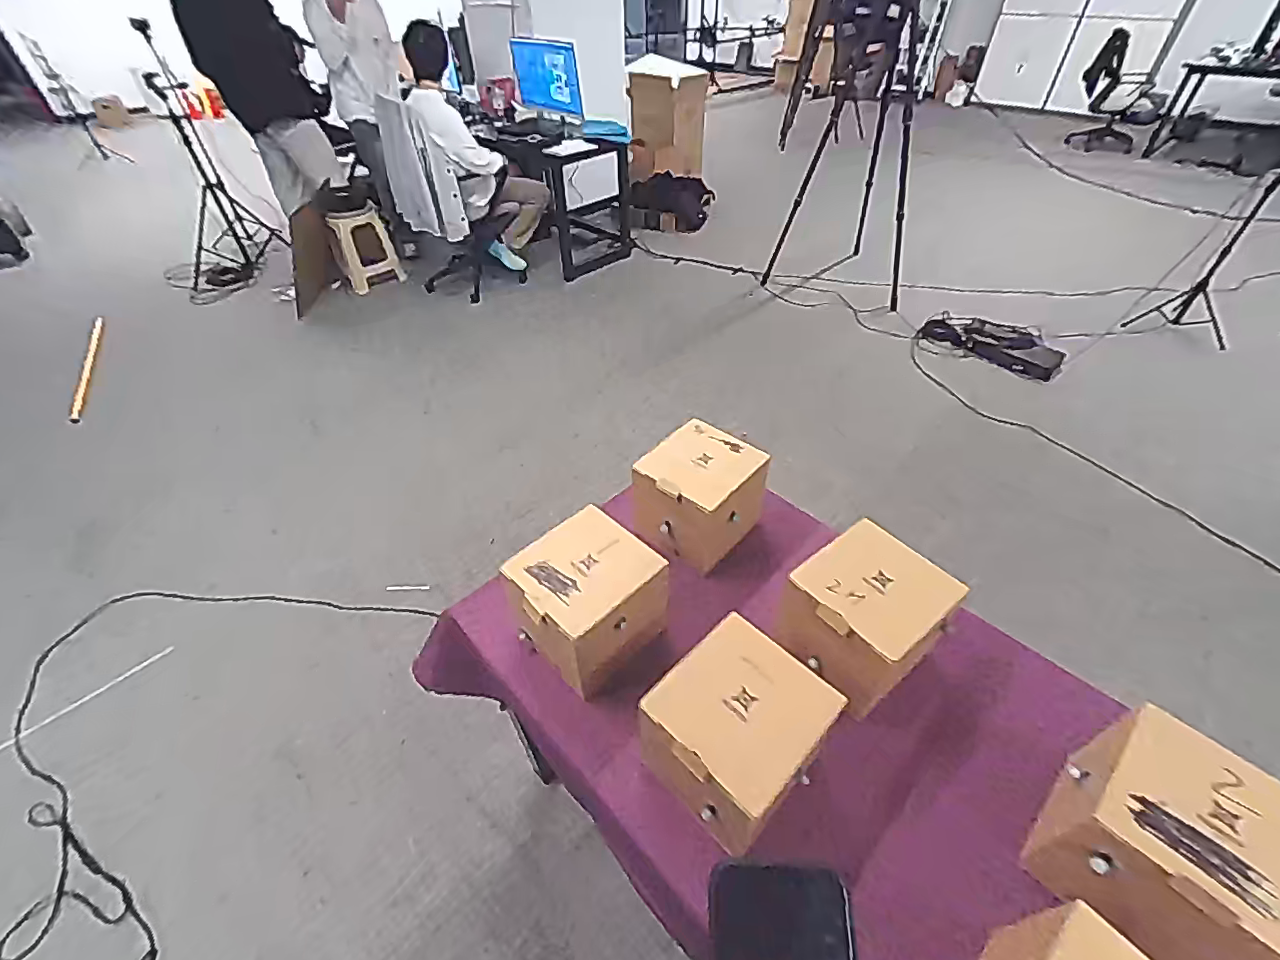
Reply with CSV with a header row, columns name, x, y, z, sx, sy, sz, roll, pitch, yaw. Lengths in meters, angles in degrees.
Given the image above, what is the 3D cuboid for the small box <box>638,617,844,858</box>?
name,x,y,z,sx,sy,sz,roll,pitch,yaw
small box,0.117,0.314,0.662,0.179,0.176,0.168,-33,52,-30

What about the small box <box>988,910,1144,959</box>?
name,x,y,z,sx,sy,sz,roll,pitch,yaw
small box,0.372,0.510,0.442,0.179,0.176,0.168,-30,50,-26

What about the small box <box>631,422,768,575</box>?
name,x,y,z,sx,sy,sz,roll,pitch,yaw
small box,0.105,0.034,0.957,0.168,0.176,0.179,31,54,29

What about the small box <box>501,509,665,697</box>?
name,x,y,z,sx,sy,sz,roll,pitch,yaw
small box,-0.077,0.183,0.806,0.168,0.176,0.179,34,53,31

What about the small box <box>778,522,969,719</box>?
name,x,y,z,sx,sy,sz,roll,pitch,yaw
small box,0.318,0.199,0.773,0.179,0.176,0.168,-29,49,-25
